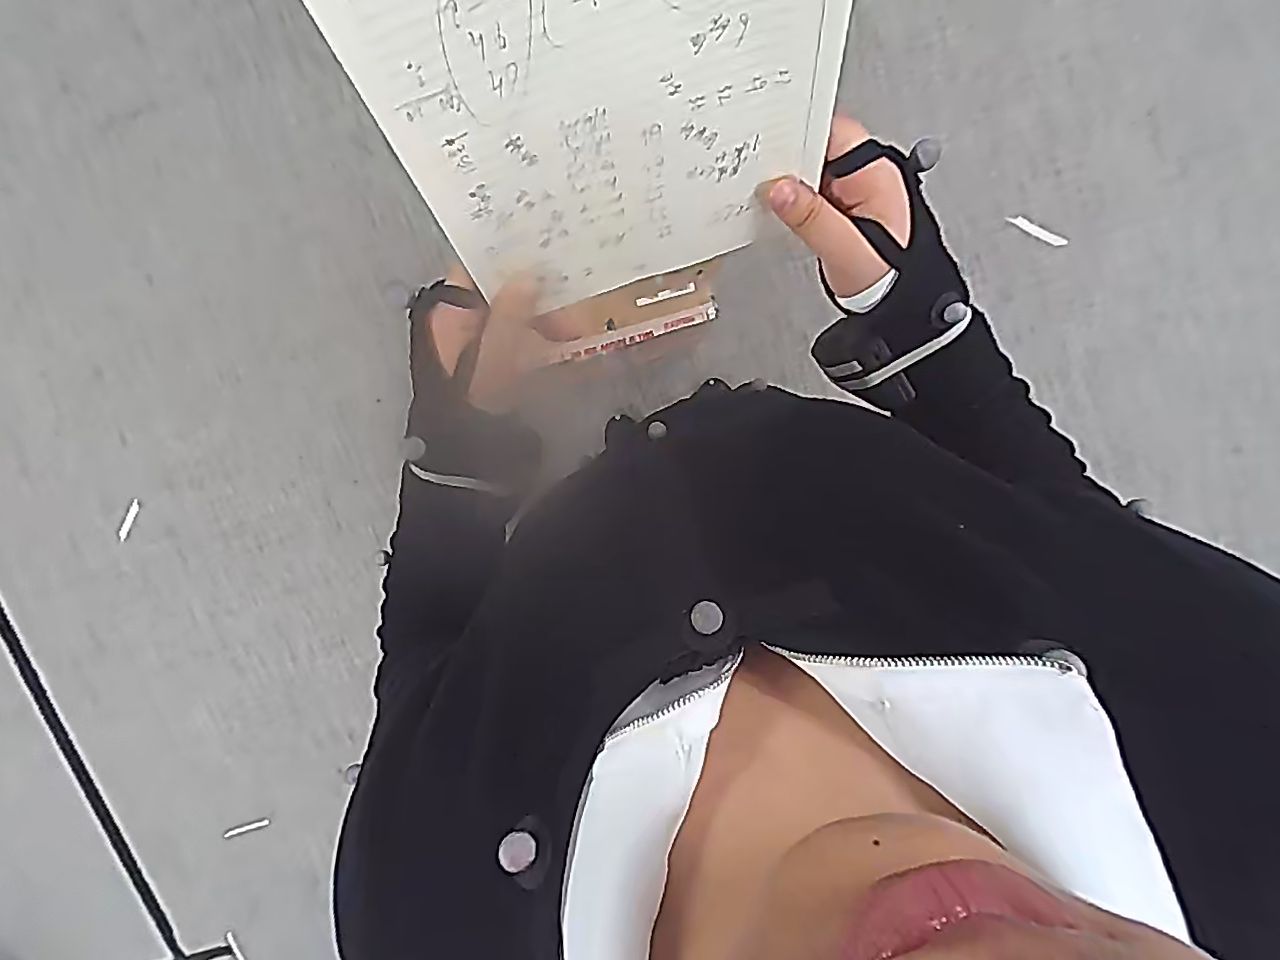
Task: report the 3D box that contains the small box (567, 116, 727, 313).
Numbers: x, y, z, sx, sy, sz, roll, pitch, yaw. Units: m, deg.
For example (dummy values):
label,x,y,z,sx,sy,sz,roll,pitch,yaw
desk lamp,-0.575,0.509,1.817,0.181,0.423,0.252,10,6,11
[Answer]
label,x,y,z,sx,sy,sz,roll,pitch,yaw
small box,0.007,-0.338,0.723,0.168,0.176,0.179,-13,99,1

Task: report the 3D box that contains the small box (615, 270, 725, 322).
label,x,y,z,sx,sy,sz,roll,pitch,yaw
small box,0.023,-0.370,0.885,0.179,0.176,0.168,-17,98,2
